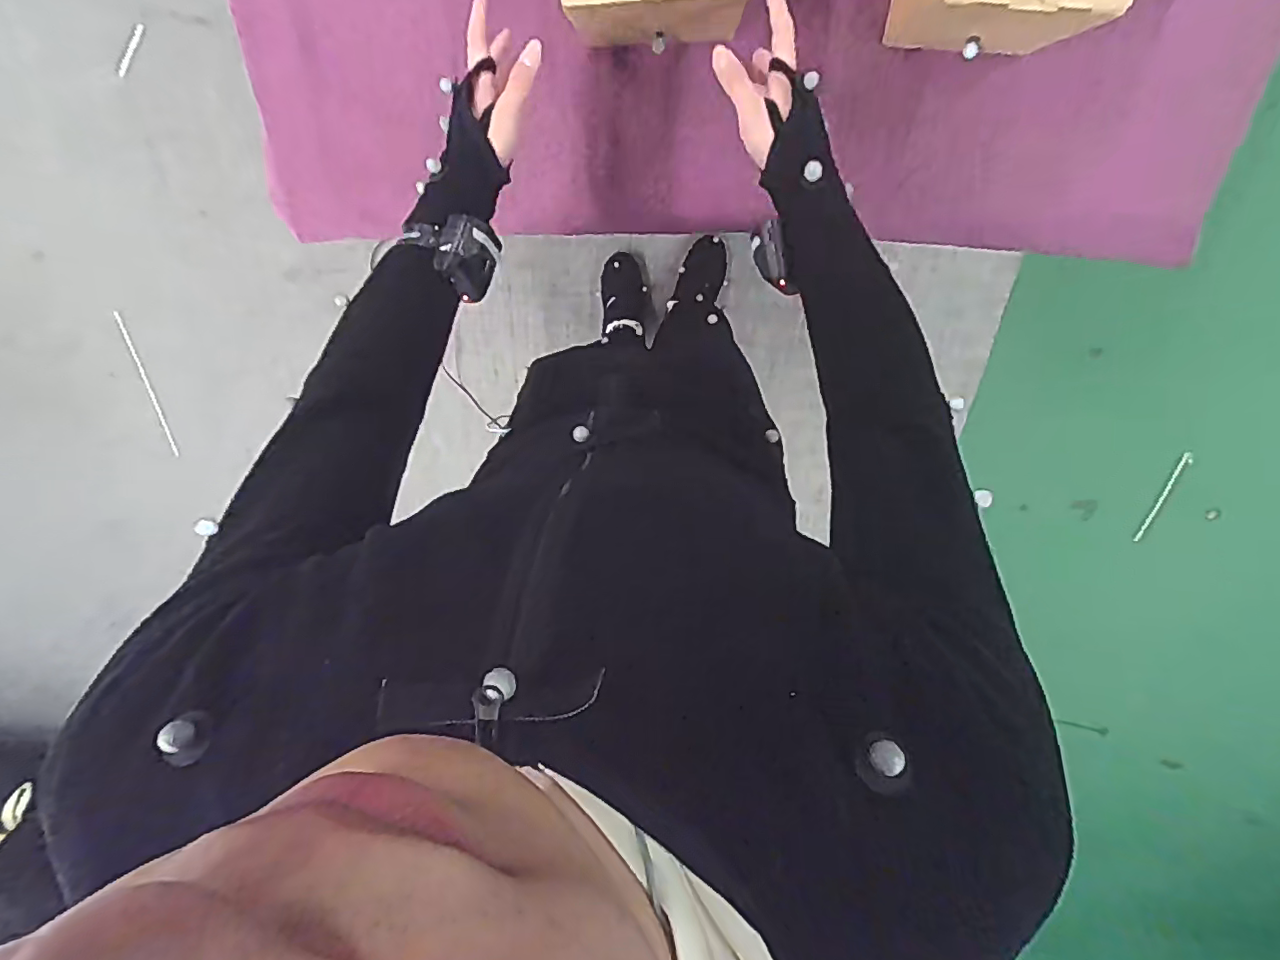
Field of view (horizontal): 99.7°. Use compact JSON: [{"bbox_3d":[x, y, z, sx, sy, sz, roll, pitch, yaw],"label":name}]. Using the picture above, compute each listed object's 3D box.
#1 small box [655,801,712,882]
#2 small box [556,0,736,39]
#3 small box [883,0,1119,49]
[{"bbox_3d":[0.148,1.222,1.835,0.179,0.176,0.168,5,119,4],"label":"small box"},{"bbox_3d":[0.007,-0.554,0.526,0.179,0.176,0.168,0,118,4],"label":"small box"},{"bbox_3d":[0.353,-0.540,0.509,0.168,0.176,0.179,5,119,2],"label":"small box"}]
